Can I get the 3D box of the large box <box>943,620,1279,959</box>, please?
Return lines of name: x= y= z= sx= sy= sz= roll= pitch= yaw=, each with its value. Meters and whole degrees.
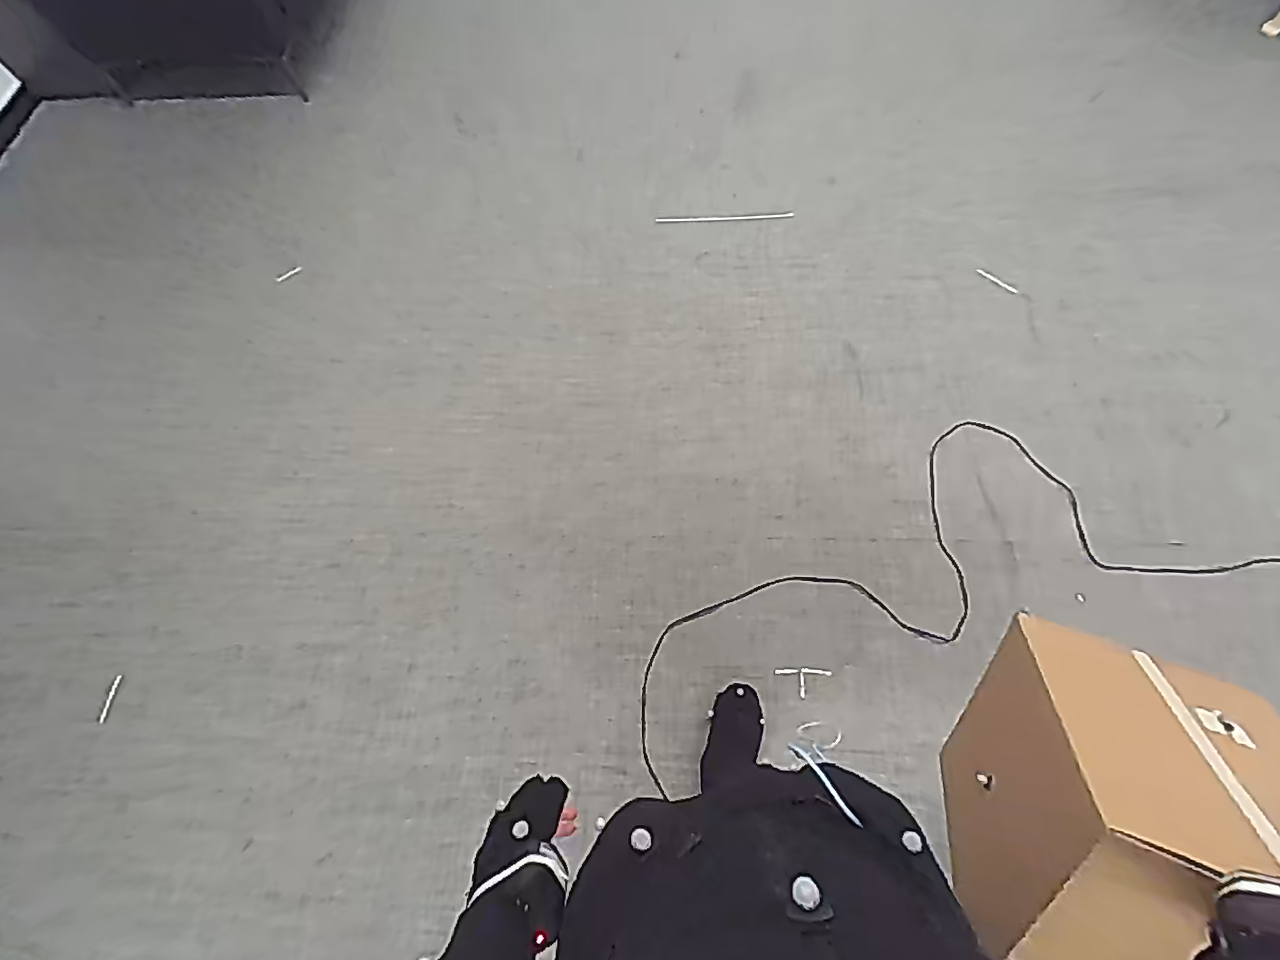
large box: x=0.619 y=0.456 z=0.682 sx=0.320 sy=0.408 sz=0.320 roll=20 pitch=113 yaw=18
